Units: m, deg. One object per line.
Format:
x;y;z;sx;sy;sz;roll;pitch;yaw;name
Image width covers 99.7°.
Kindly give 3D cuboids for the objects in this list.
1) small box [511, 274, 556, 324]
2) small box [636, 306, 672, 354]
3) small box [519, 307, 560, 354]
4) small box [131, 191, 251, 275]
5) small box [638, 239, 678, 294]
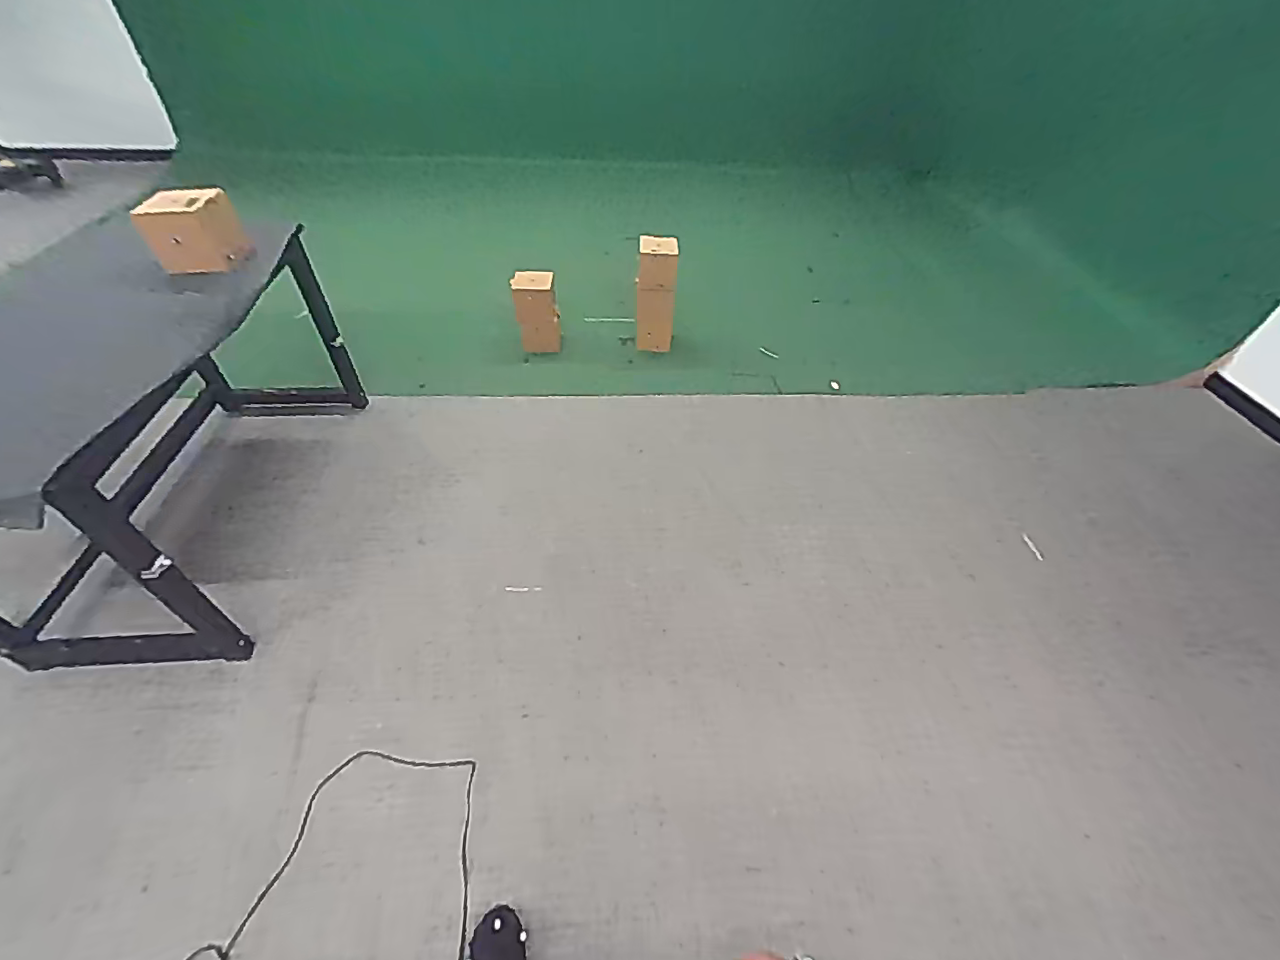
-0.491;-0.837;2.503;0.179;0.176;0.168;1;47;-3;small box
0.068;-0.738;2.668;0.168;0.176;0.179;5;46;1;small box
-0.484;-0.725;2.621;0.179;0.176;0.168;-1;47;-4;small box
-1.263;-0.701;1.540;0.179;0.176;0.168;-3;47;-2;small box
0.076;-0.958;2.424;0.168;0.176;0.179;3;45;-2;small box
